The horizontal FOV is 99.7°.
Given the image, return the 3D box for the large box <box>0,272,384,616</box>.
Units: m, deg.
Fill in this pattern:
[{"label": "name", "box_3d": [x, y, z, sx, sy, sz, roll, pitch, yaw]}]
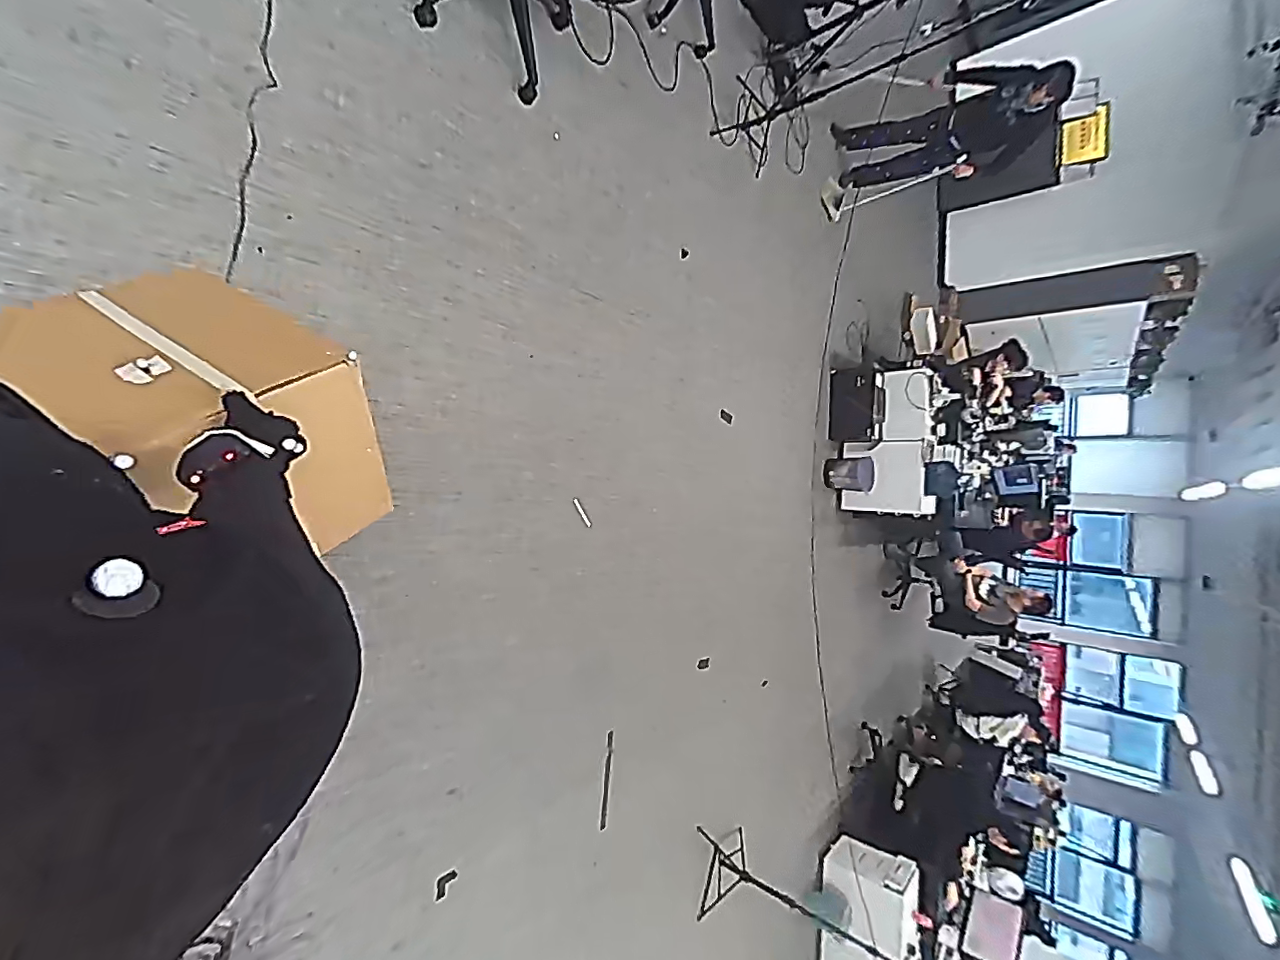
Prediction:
[{"label": "large box", "box_3d": [-0.679, -0.072, 0.837, 0.320, 0.408, 0.320, -44, 155, -41]}]
